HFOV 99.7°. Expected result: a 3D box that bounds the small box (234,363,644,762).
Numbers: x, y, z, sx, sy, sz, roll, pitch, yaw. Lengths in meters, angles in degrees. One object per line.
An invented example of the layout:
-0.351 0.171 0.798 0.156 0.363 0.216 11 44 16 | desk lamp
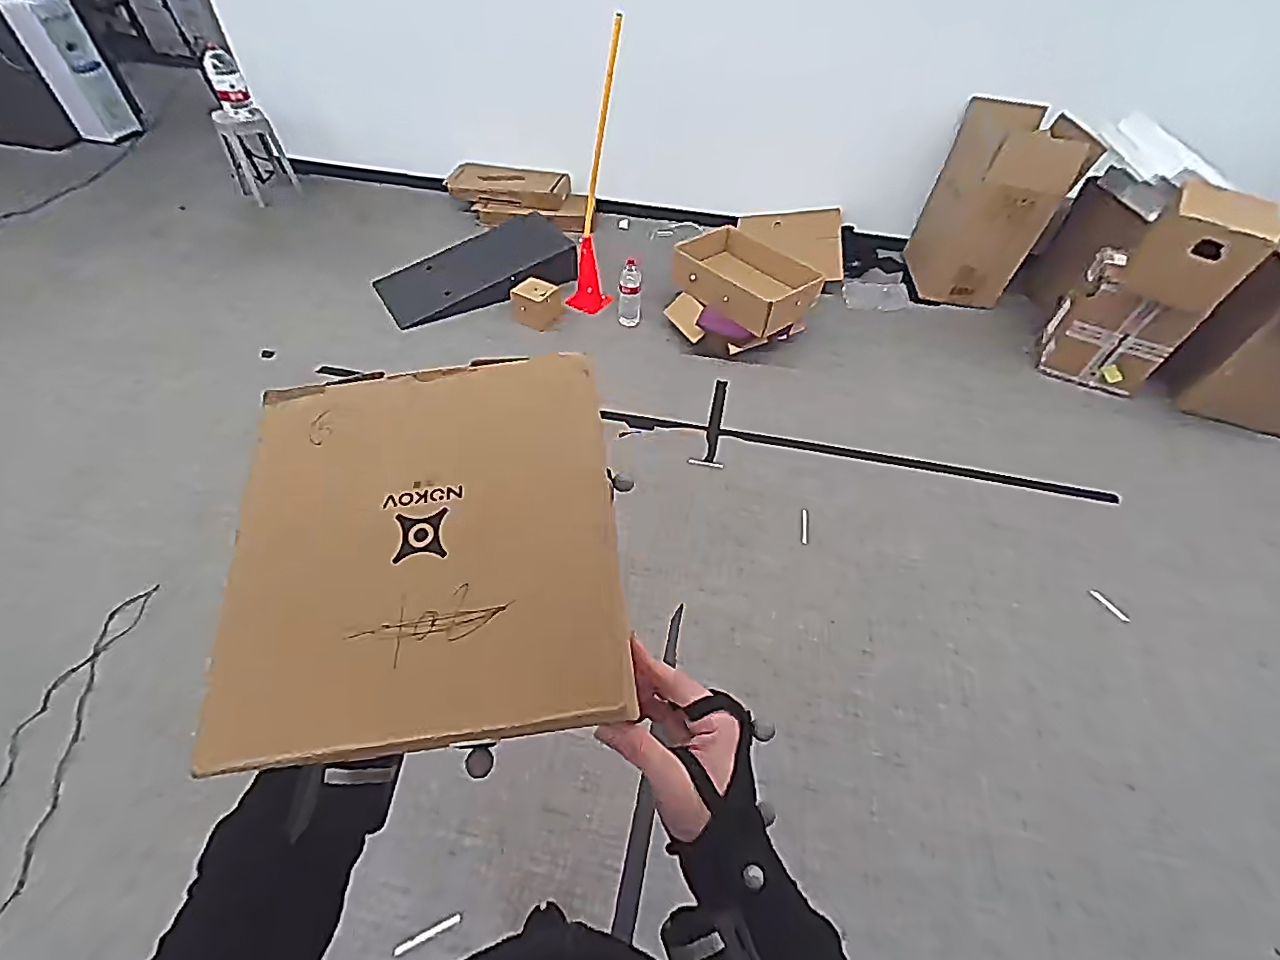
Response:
-0.091 0.058 0.325 0.168 0.176 0.179 -9 66 -2 | small box
